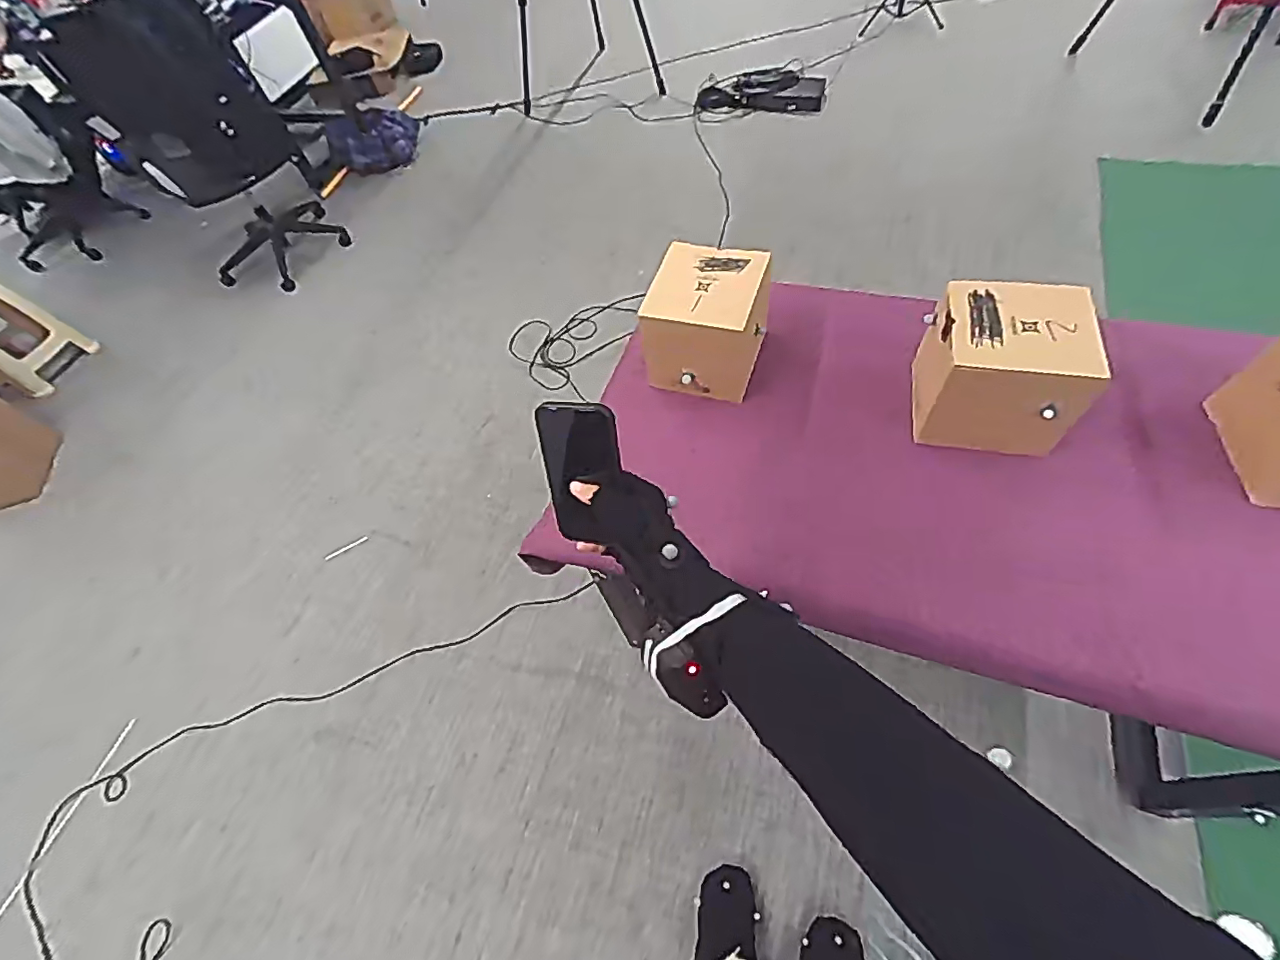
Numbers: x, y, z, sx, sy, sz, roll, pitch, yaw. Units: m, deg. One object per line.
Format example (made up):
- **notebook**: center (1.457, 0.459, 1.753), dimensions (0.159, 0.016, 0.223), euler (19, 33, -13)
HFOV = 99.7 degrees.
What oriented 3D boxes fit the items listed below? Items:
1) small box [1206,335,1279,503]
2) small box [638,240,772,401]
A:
- **small box**: center (0.868, -0.073, 0.657), dimensions (0.168, 0.176, 0.179), euler (4, 58, 12)
- **small box**: center (0.110, -0.260, 0.887), dimensions (0.168, 0.176, 0.179), euler (14, 63, 17)
